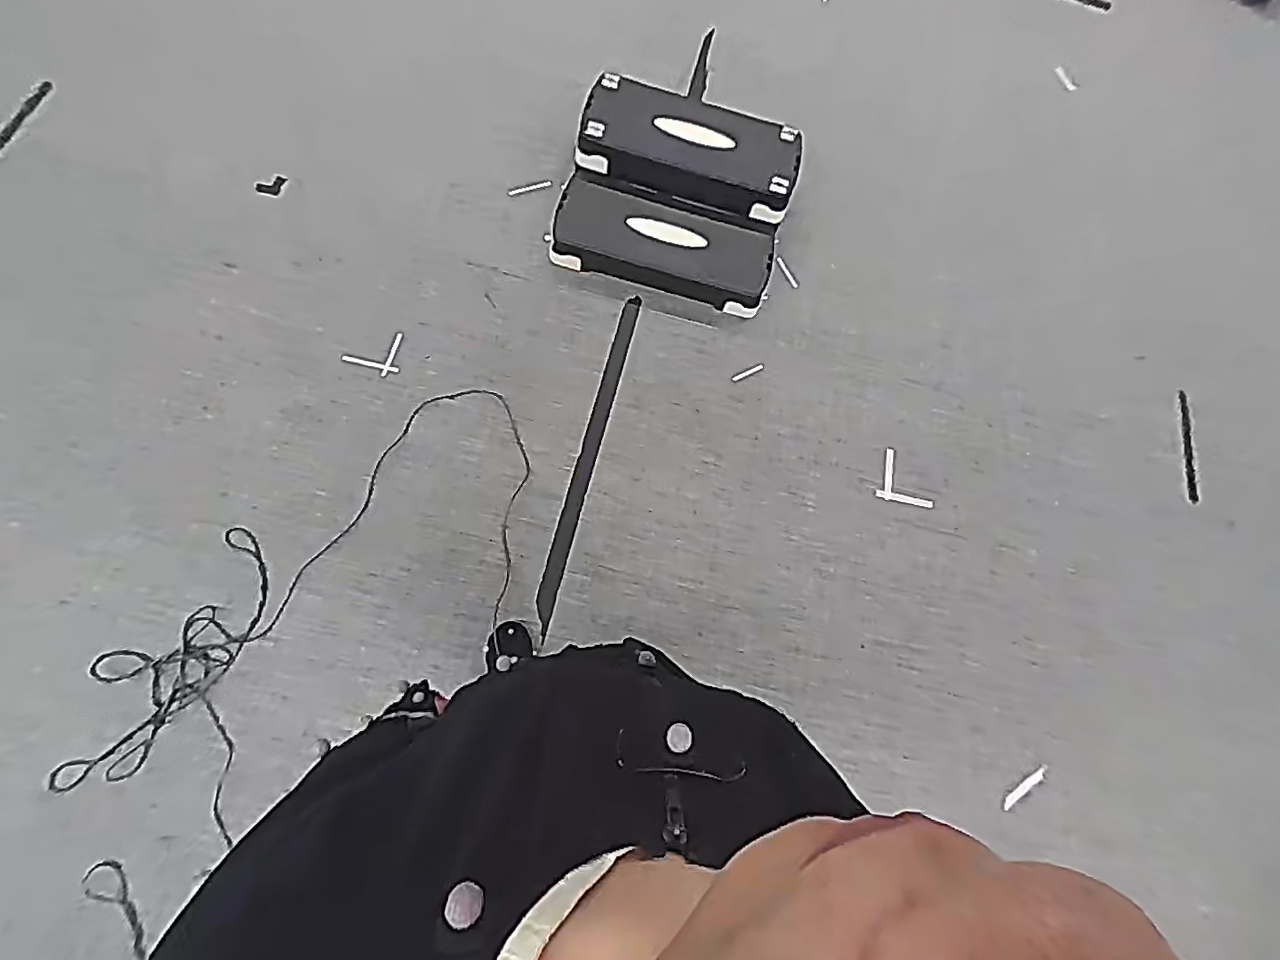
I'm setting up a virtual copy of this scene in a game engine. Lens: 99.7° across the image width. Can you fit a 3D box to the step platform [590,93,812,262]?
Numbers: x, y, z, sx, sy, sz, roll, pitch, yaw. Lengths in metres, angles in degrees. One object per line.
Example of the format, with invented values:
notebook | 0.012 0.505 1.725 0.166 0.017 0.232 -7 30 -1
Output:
step platform | 0.190 -0.959 1.722 0.684 0.204 0.286 19 72 -1
